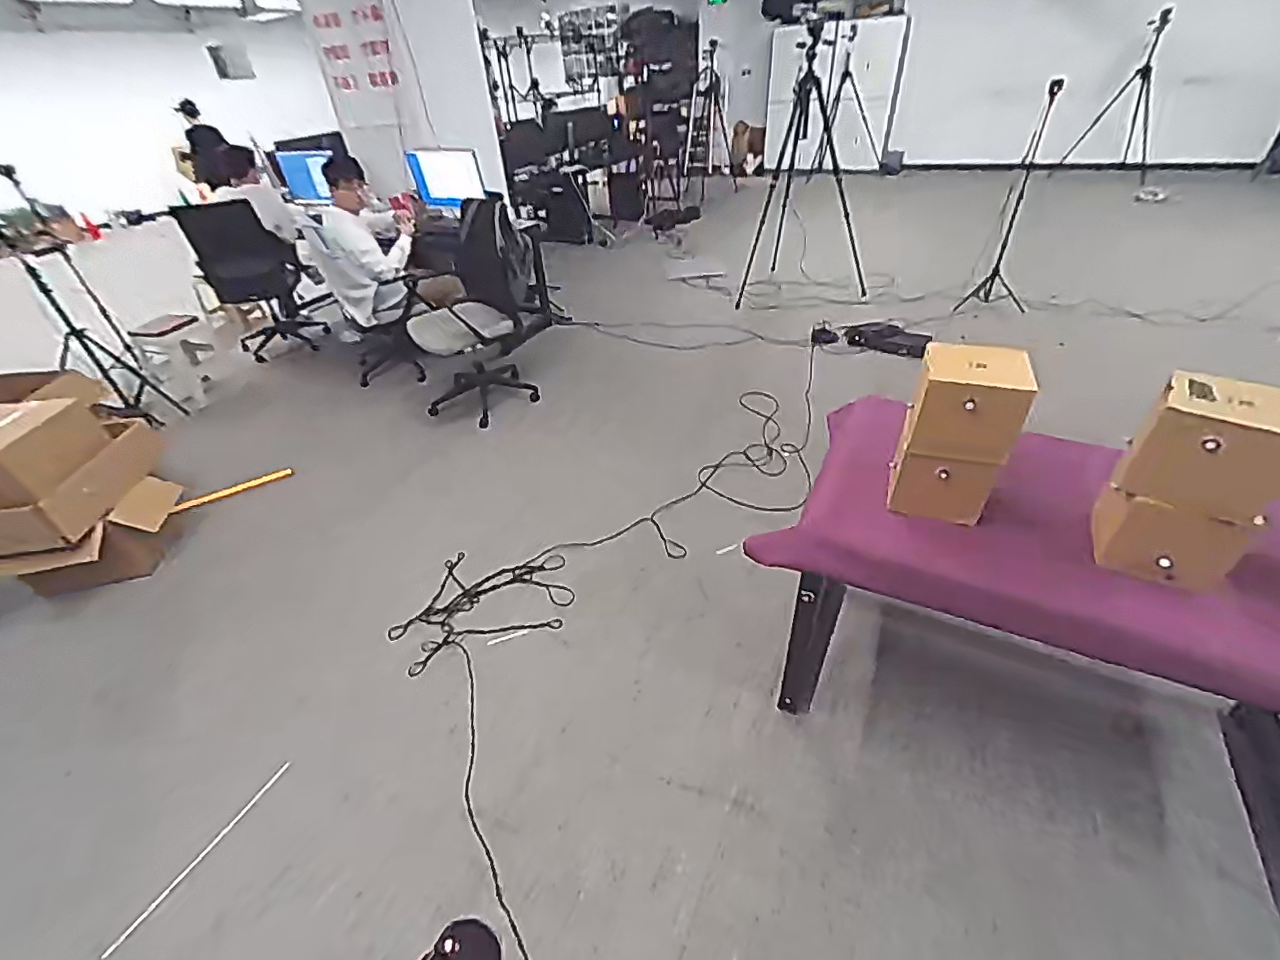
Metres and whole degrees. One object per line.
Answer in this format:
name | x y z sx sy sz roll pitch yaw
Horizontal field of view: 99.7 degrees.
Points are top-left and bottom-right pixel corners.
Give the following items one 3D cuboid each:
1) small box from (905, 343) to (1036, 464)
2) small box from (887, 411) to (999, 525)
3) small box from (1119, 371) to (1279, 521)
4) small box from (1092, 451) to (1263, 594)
small box | 0.636 -0.150 1.059 0.179 0.176 0.168 11 41 20
small box | 0.643 -0.026 1.163 0.179 0.176 0.168 13 41 21
small box | 0.947 -0.058 0.900 0.179 0.176 0.168 26 47 33
small box | 0.968 0.074 0.997 0.168 0.176 0.179 17 42 26
